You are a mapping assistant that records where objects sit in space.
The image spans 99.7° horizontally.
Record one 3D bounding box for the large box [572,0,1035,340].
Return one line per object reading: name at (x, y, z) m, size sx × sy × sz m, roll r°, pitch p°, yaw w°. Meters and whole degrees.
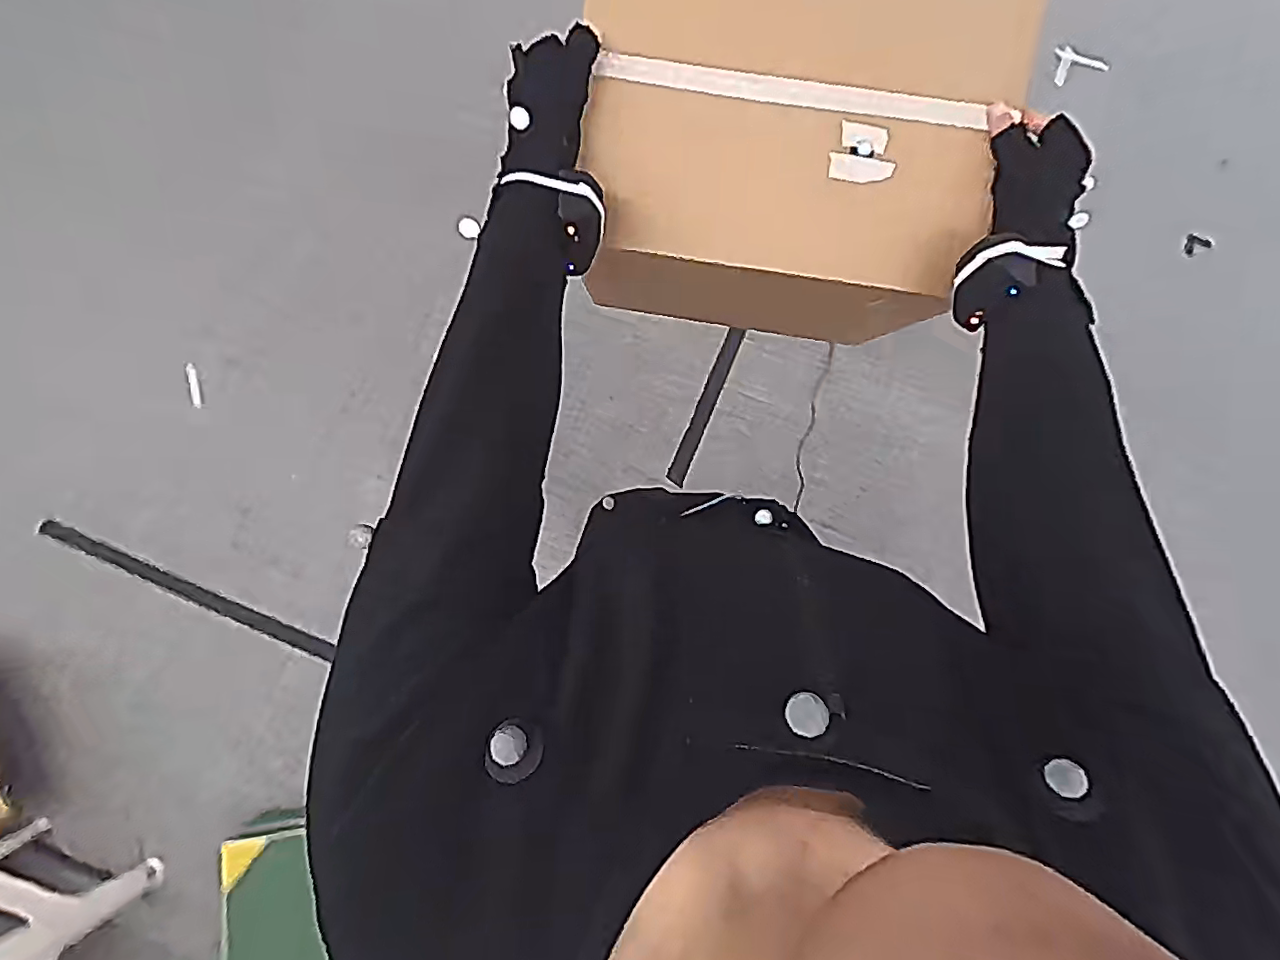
large box at (0.150, -0.372, 0.656) m, size 0.408 × 0.320 × 0.320 m, roll 9°, pitch 97°, yaw 0°
